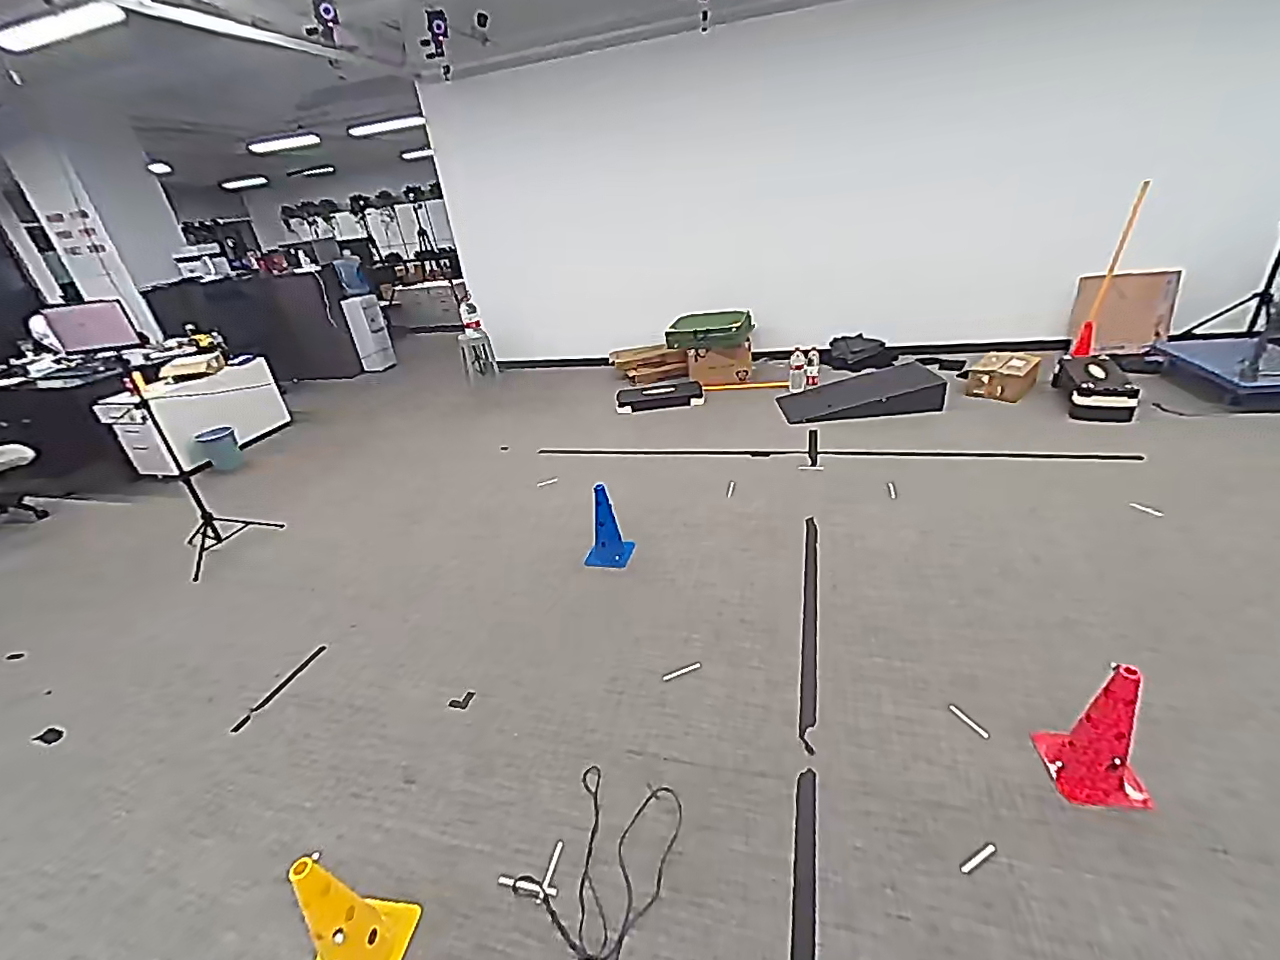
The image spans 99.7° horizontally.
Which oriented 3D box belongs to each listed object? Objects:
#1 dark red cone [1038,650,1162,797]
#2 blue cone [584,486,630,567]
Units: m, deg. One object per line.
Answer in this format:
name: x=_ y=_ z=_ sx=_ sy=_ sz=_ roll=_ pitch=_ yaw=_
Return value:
dark red cone: x=1.148 y=0.567 z=1.313 sx=0.201 sy=0.394 sz=0.202 roll=-3 pitch=28 yaw=11
blue cone: x=-0.172 y=0.198 z=2.418 sx=0.192 sy=0.380 sz=0.193 roll=1 pitch=28 yaw=18
